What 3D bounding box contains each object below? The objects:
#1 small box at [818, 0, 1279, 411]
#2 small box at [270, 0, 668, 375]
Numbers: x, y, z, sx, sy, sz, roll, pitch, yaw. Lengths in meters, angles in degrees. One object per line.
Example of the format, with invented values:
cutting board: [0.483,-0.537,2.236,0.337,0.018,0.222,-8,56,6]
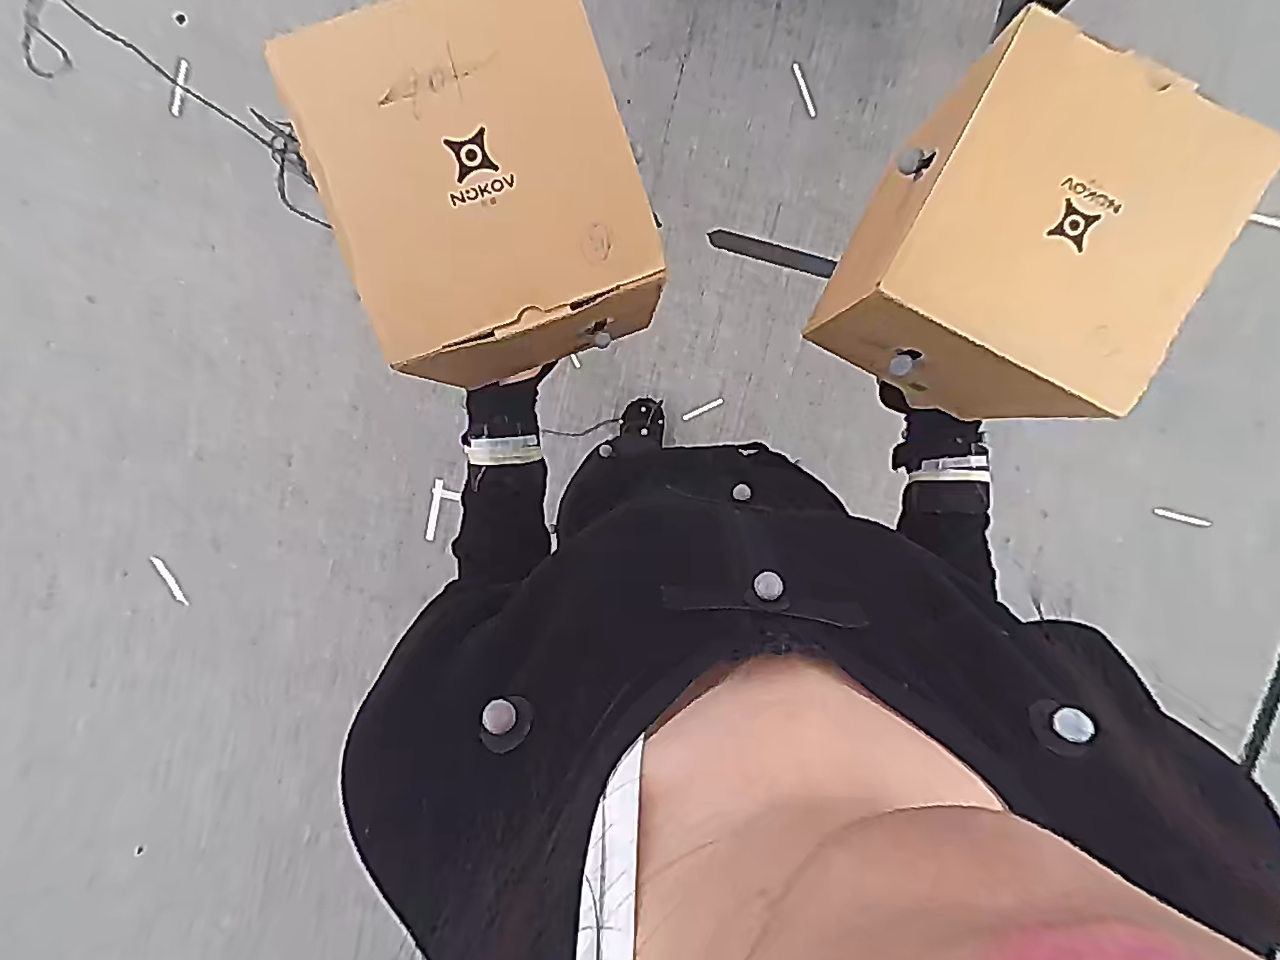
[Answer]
small box: [0.249,-0.160,0.385,0.168,0.176,0.179,27,95,-1]
small box: [-0.091,-0.178,0.367,0.168,0.176,0.179,-20,96,-2]
